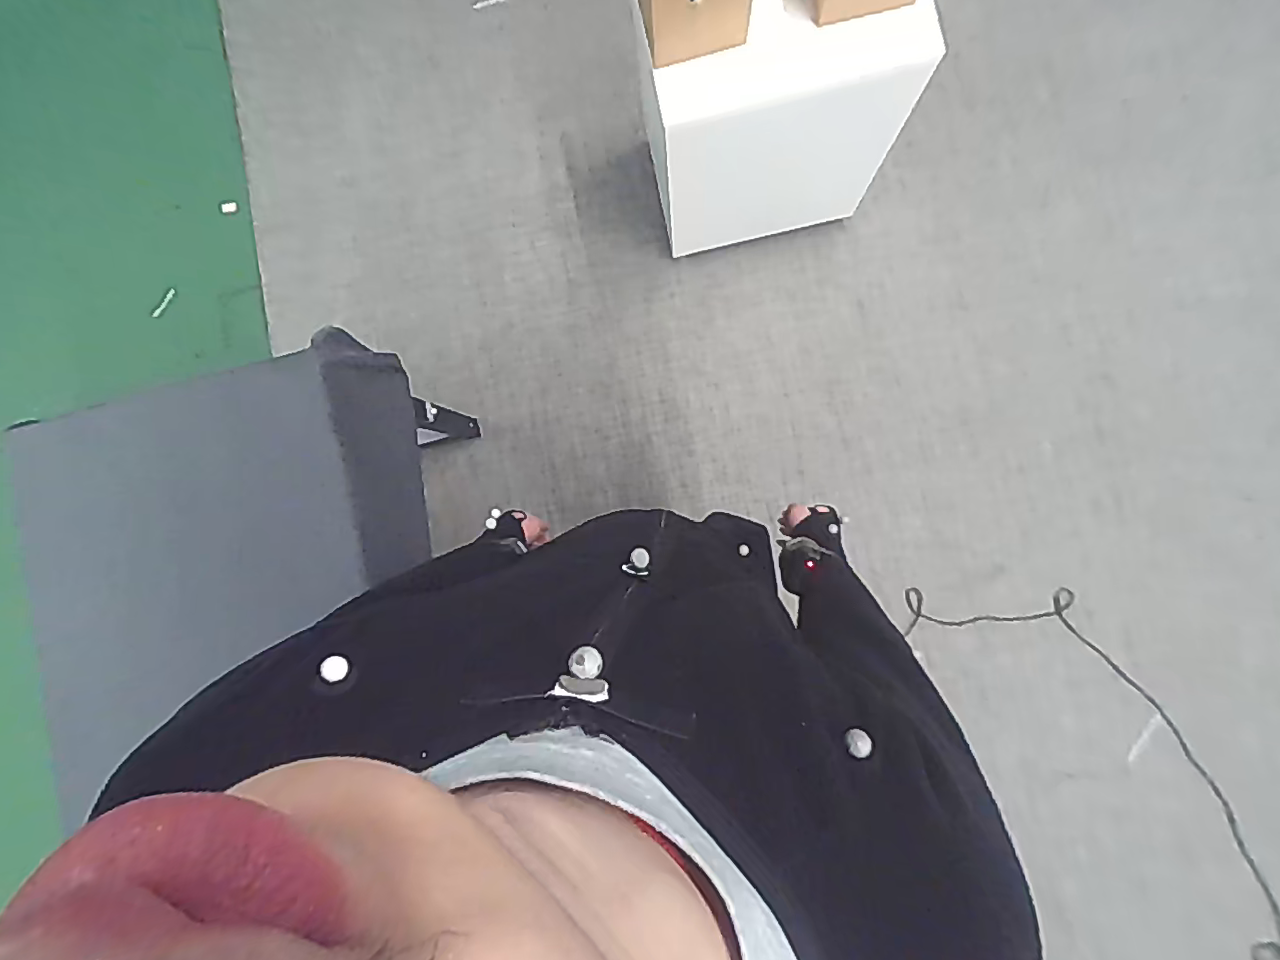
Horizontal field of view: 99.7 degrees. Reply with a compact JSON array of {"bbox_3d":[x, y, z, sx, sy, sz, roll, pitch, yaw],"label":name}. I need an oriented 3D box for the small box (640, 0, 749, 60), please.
[{"bbox_3d":[0.085,-0.854,0.903,0.179,0.176,0.168,-13,87,3],"label":"small box"}]

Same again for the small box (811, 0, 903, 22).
[{"bbox_3d":[0.378,-0.907,0.879,0.179,0.176,0.168,-10,87,7],"label":"small box"}]
